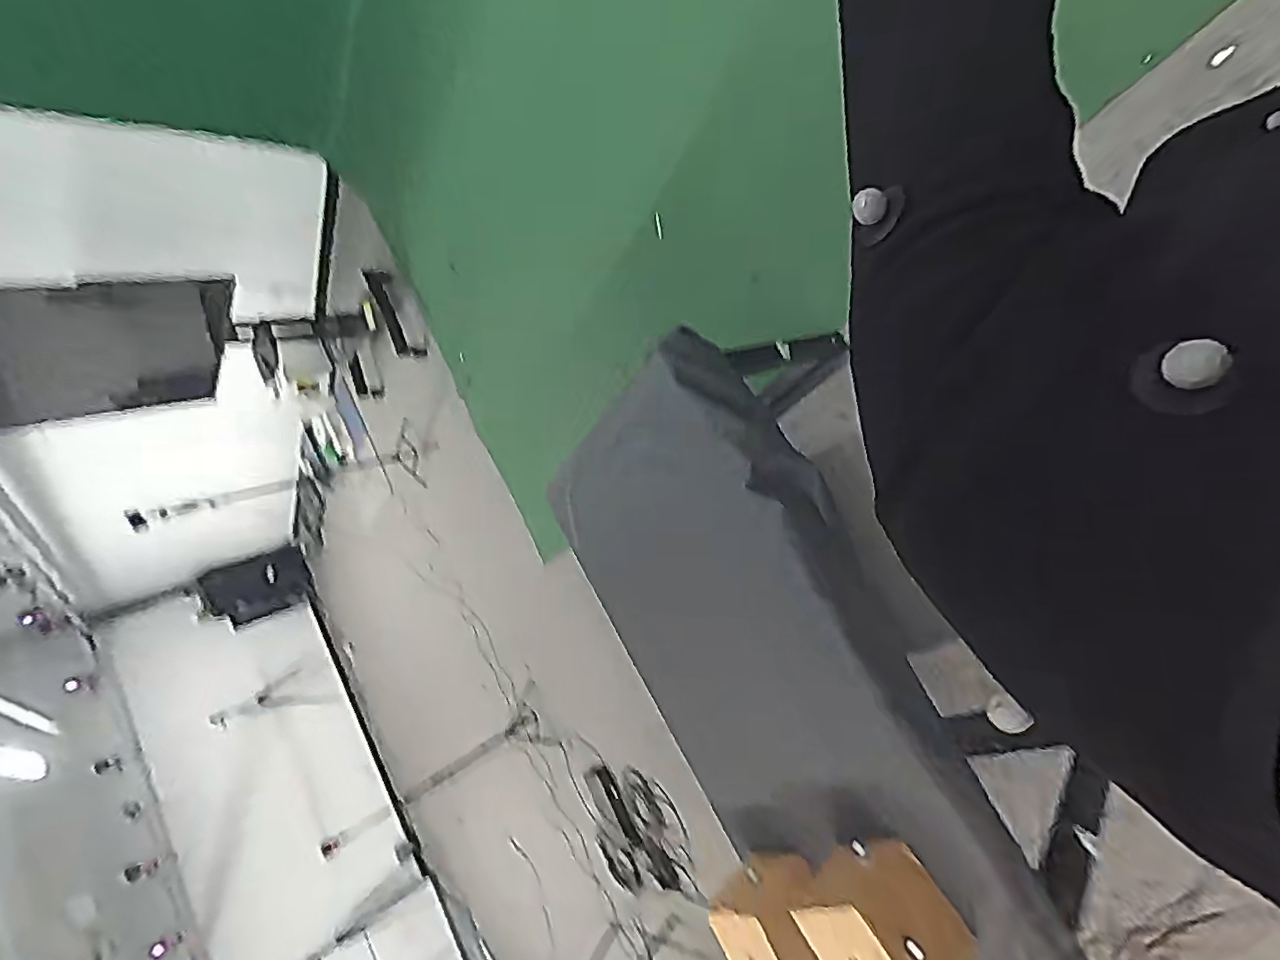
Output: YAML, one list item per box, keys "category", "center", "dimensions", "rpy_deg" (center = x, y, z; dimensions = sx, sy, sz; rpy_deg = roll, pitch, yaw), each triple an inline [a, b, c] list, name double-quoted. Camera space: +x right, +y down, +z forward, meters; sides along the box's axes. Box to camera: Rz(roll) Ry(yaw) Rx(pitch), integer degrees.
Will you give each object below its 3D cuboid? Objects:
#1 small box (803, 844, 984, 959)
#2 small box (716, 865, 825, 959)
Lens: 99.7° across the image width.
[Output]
- category: "small box"
  center: [0.411, 0.740, 0.878]
  dimensions: [0.179, 0.176, 0.168]
  rpy_deg: [54, 136, 21]
- category: "small box"
  center: [0.291, 0.902, 1.069]
  dimensions: [0.168, 0.176, 0.179]
  rpy_deg: [-45, 70, 46]
